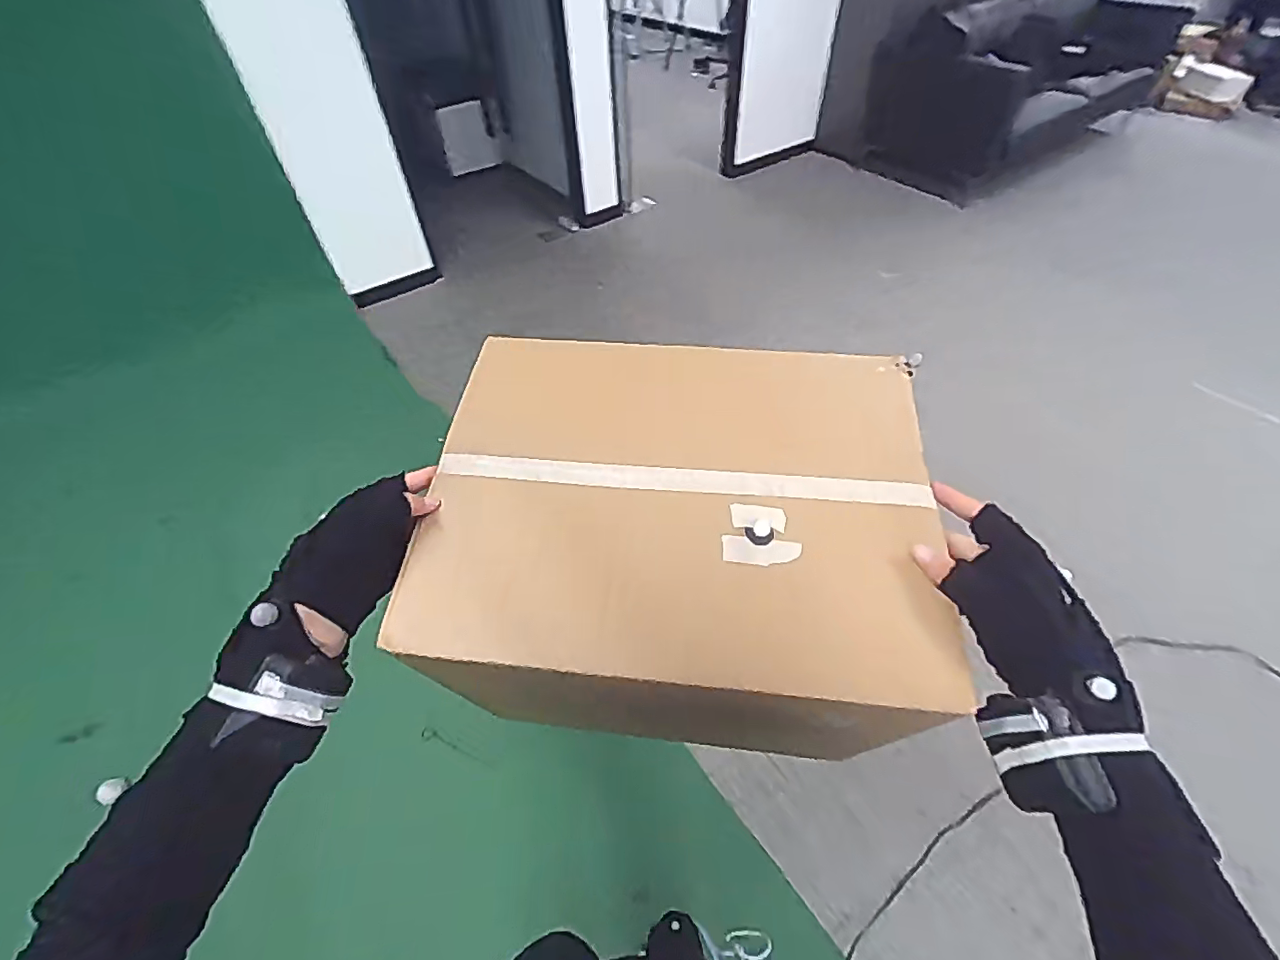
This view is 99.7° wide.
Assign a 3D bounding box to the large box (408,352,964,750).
[{"bbox_3d":[0.044,0.087,0.584,0.408,0.320,0.320,4,59,6],"label":"large box"}]
